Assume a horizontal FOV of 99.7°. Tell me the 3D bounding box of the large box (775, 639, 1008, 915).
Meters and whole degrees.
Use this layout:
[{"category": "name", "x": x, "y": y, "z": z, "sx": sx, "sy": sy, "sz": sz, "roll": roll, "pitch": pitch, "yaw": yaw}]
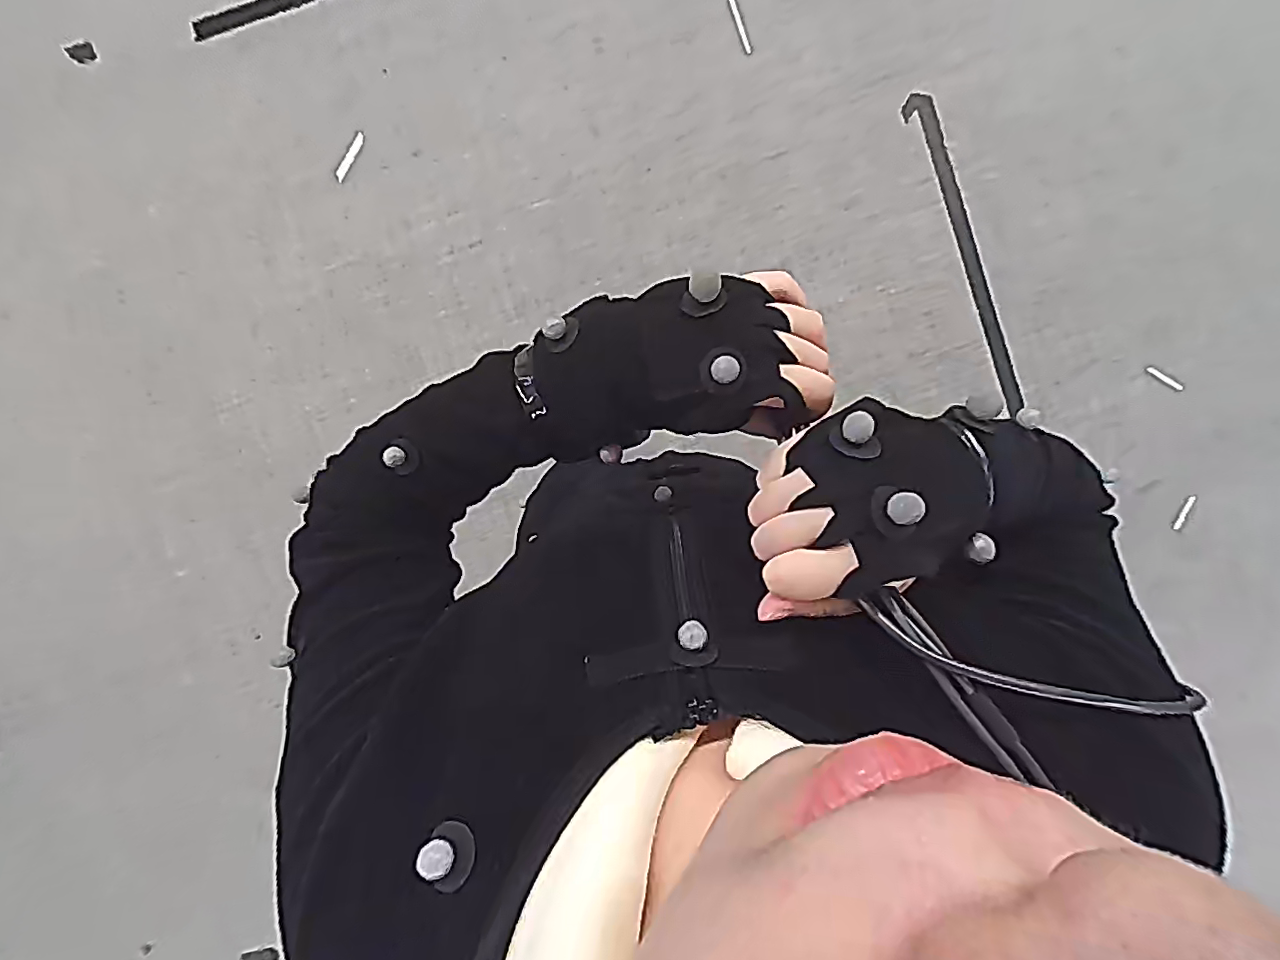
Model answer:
[{"category": "large box", "x": 0.540, "y": 0.637, "z": 1.226, "sx": 0.320, "sy": 0.320, "sz": 0.408, "roll": -15, "pitch": 94, "yaw": -1}]
